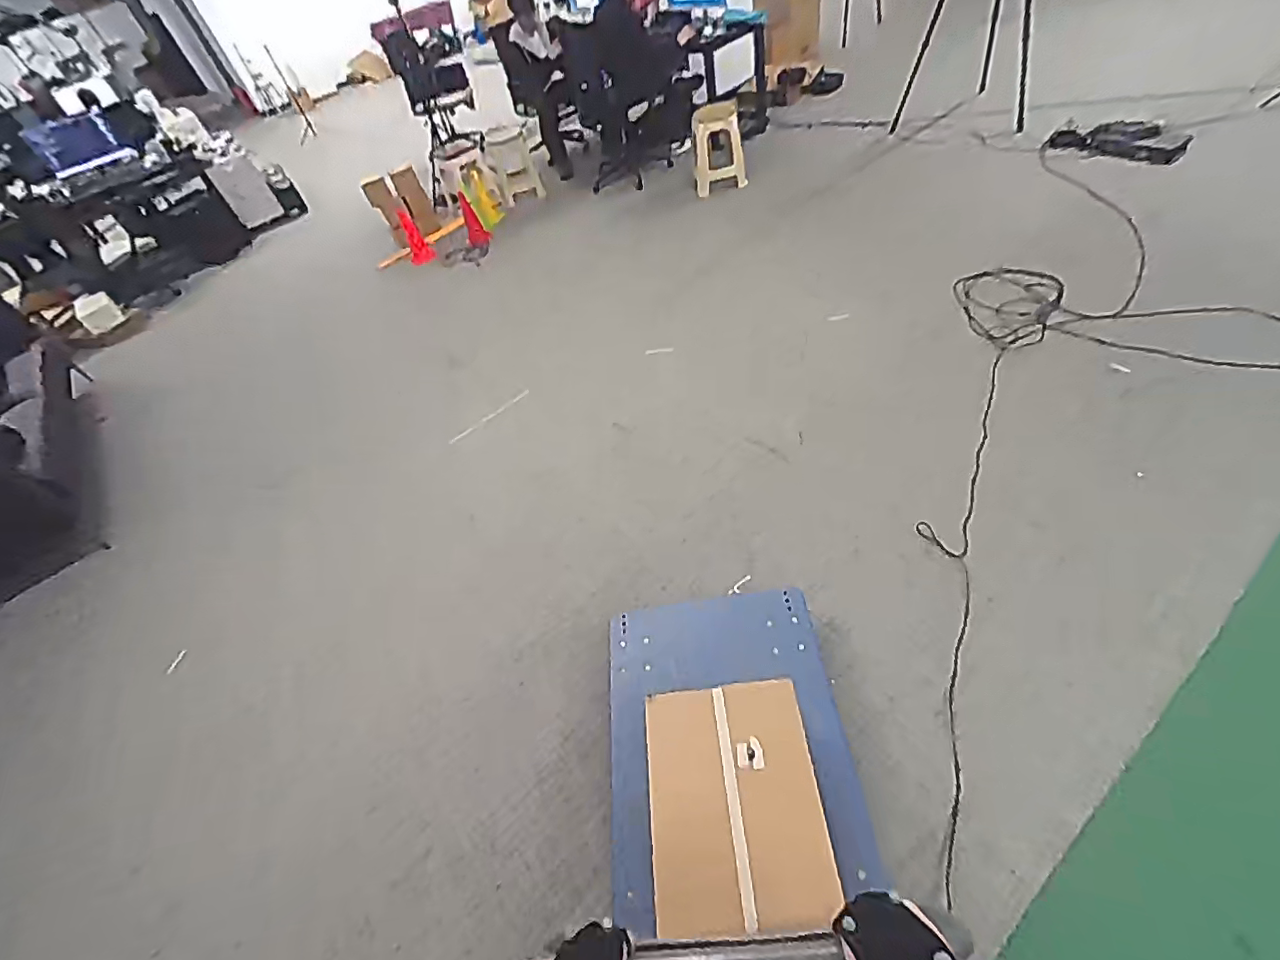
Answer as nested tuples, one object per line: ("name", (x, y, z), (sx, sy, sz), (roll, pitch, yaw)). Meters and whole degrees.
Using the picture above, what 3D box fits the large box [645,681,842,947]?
("large box", (0.201, 0.693, 1.127), (0.320, 0.320, 0.408), (-9, 46, 7))
